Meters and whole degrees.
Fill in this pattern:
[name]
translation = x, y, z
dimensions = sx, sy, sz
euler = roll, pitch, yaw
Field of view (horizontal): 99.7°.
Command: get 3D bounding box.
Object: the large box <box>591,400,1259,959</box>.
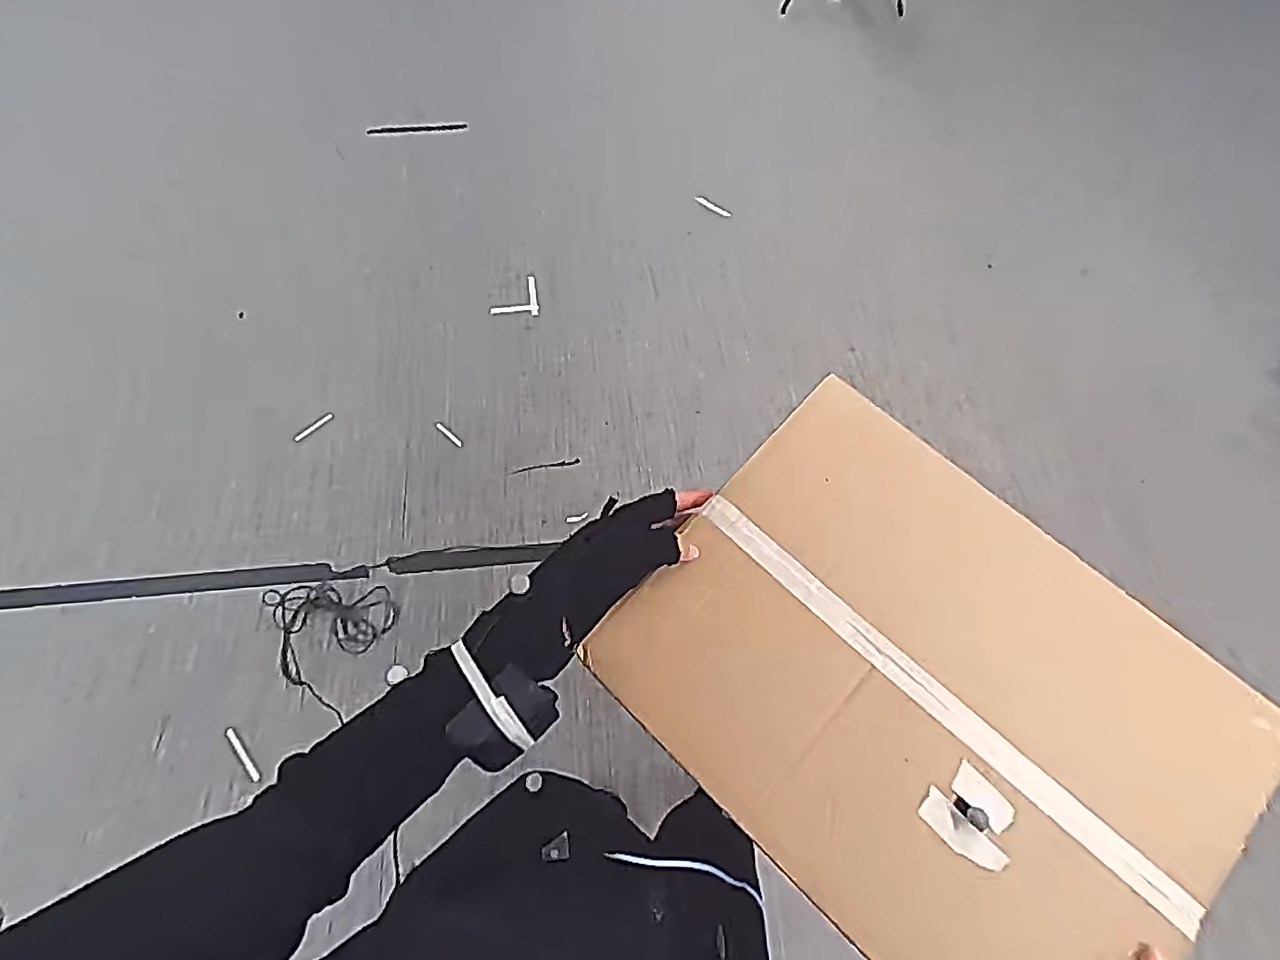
[large box]
translation = 0.208, 0.201, 0.548
dimensions = 0.408, 0.320, 0.320
euler = 42, 79, 13
